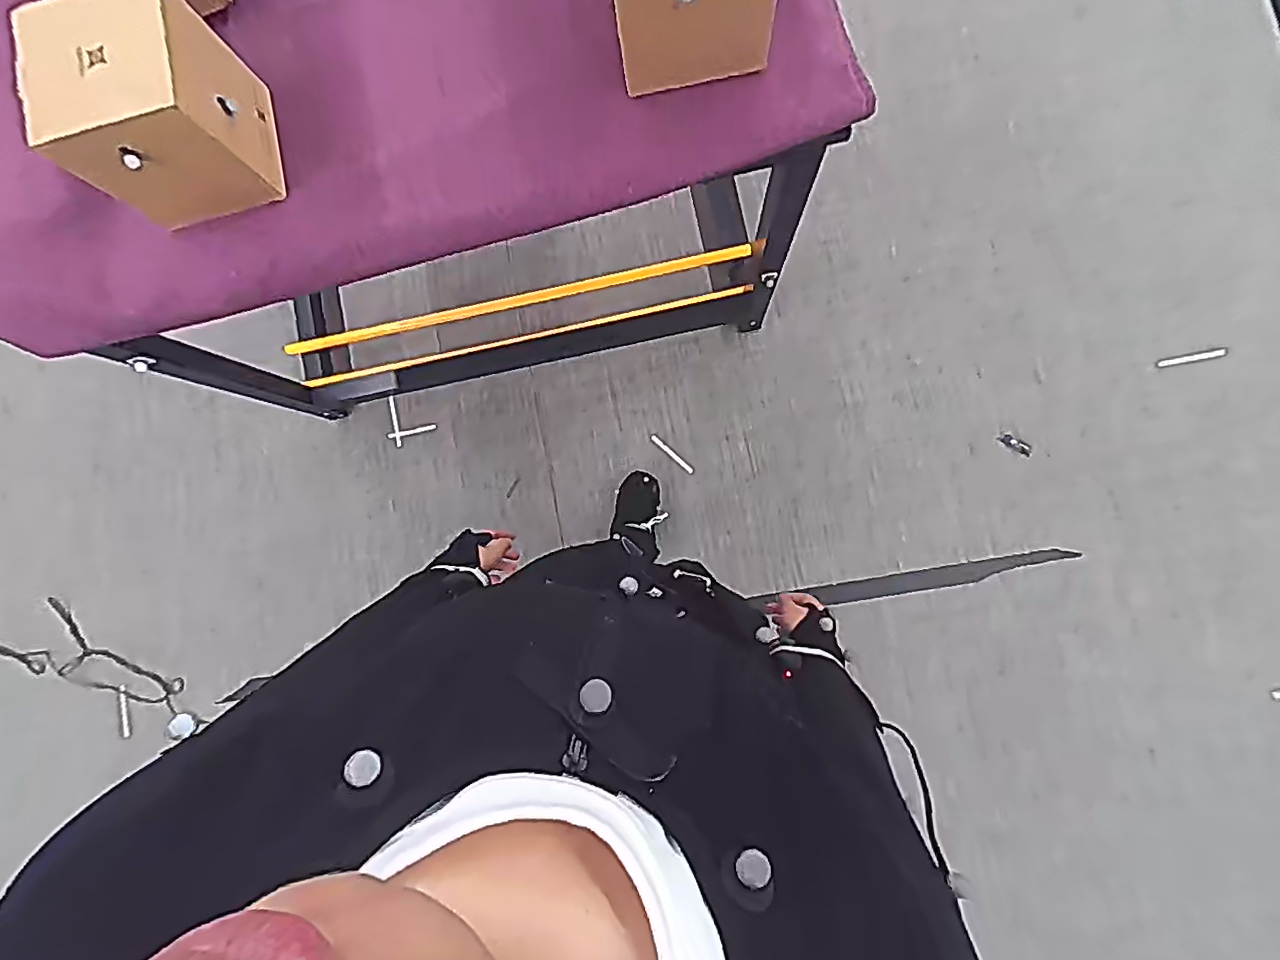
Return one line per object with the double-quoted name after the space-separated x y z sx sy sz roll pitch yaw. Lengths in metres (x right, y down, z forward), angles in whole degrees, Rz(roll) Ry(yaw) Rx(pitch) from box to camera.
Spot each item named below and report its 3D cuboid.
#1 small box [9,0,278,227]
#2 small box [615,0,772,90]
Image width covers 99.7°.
-0.575 -0.440 0.653 0.179 0.176 0.168 -13 85 4 "small box"
0.053 -0.585 0.609 0.179 0.176 0.168 -9 84 4 "small box"
